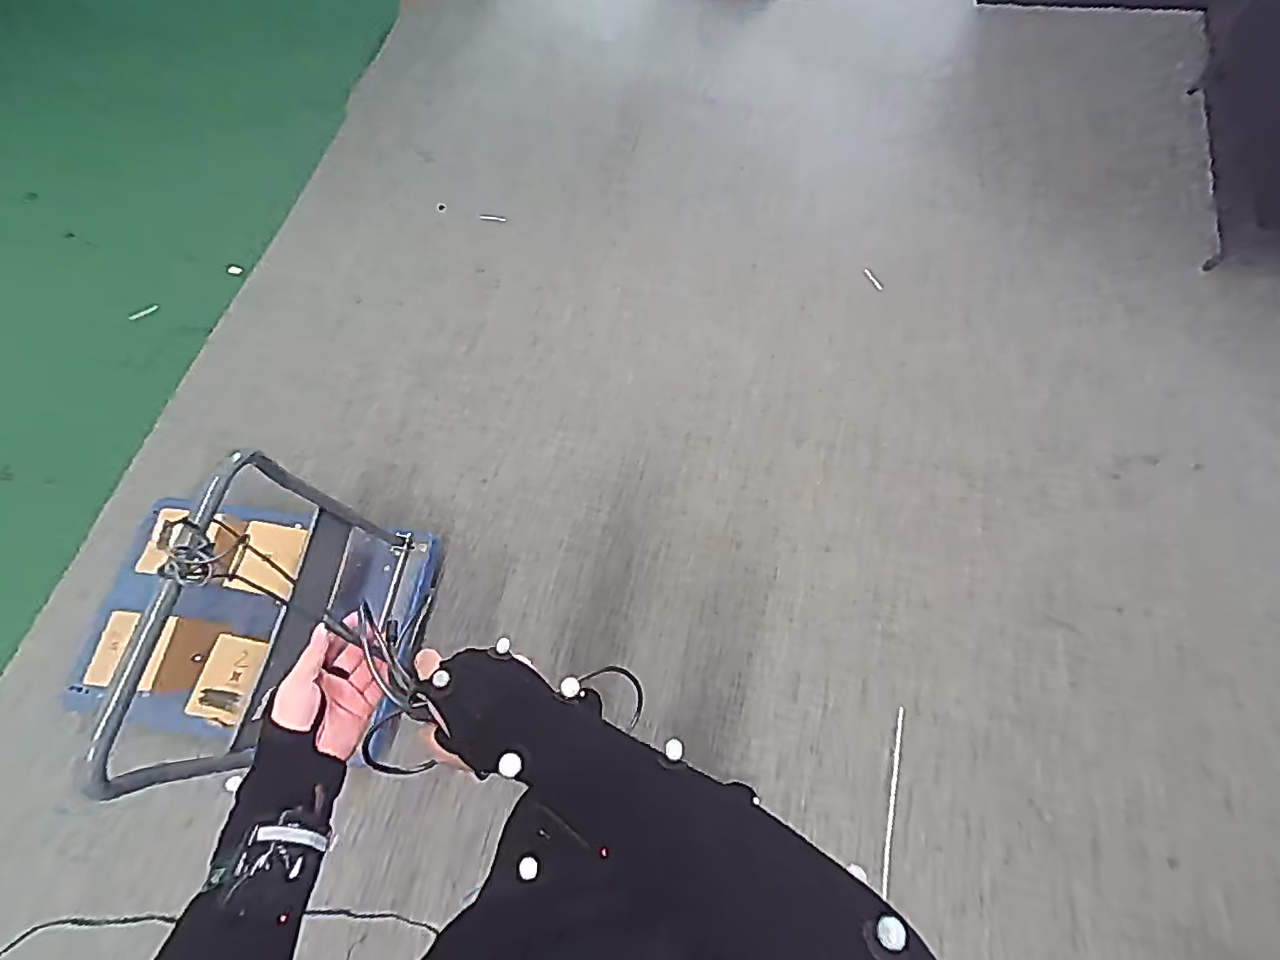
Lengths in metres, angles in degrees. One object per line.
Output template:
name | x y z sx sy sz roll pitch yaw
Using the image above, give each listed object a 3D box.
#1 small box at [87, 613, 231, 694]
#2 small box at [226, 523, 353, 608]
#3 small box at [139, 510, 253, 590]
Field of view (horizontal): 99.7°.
small box | -1.158 0.425 1.320 0.179 0.176 0.168 4 69 7
small box | -0.877 0.221 1.370 0.179 0.176 0.168 8 70 9
small box | -1.119 0.187 1.406 0.179 0.176 0.168 5 71 7
